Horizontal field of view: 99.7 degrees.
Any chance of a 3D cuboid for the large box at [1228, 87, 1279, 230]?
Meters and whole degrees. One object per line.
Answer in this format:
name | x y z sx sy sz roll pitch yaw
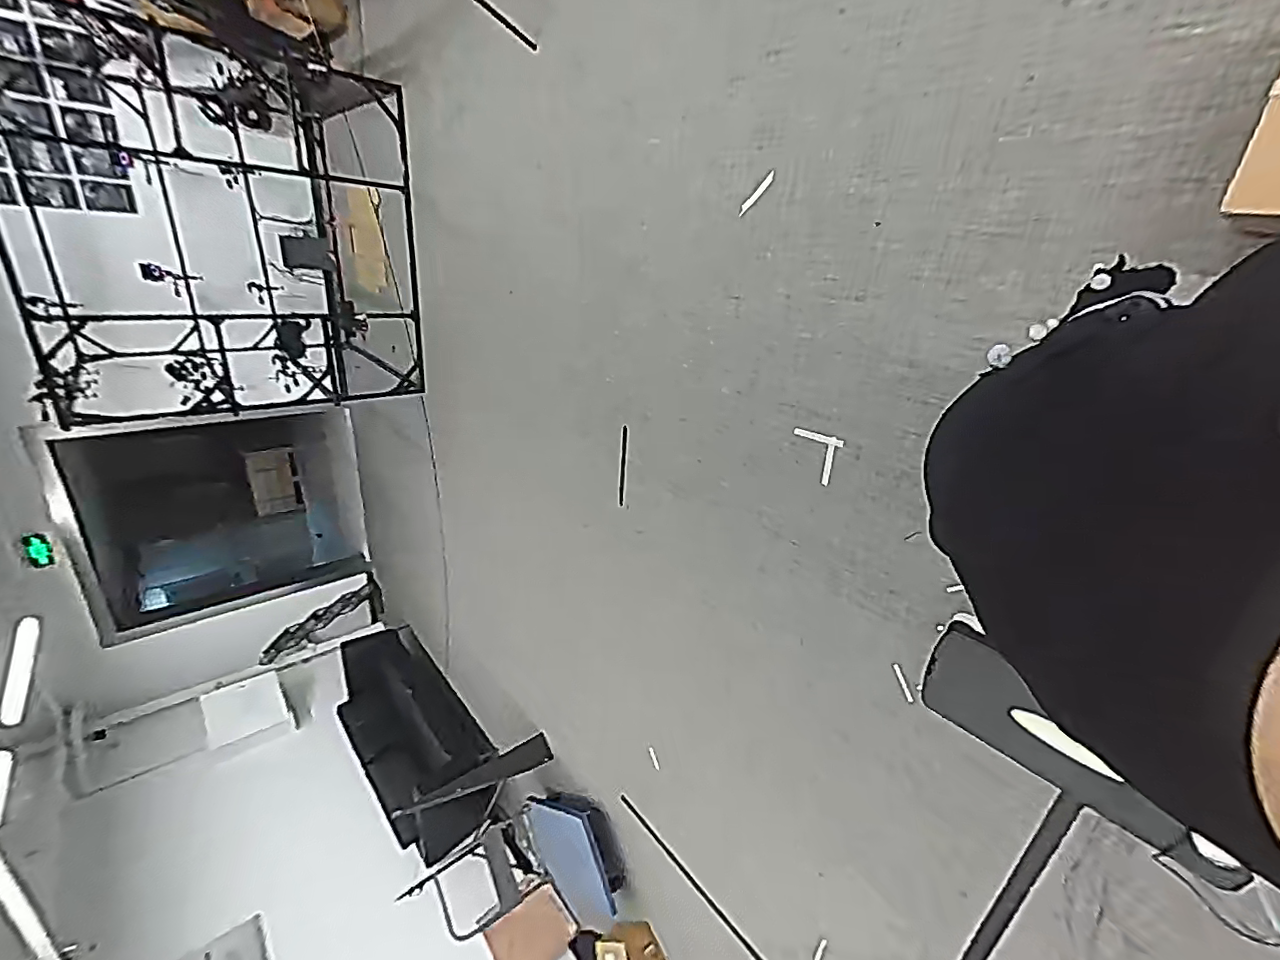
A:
large box | 1.109 -0.501 0.696 0.408 0.320 0.320 28 123 41
